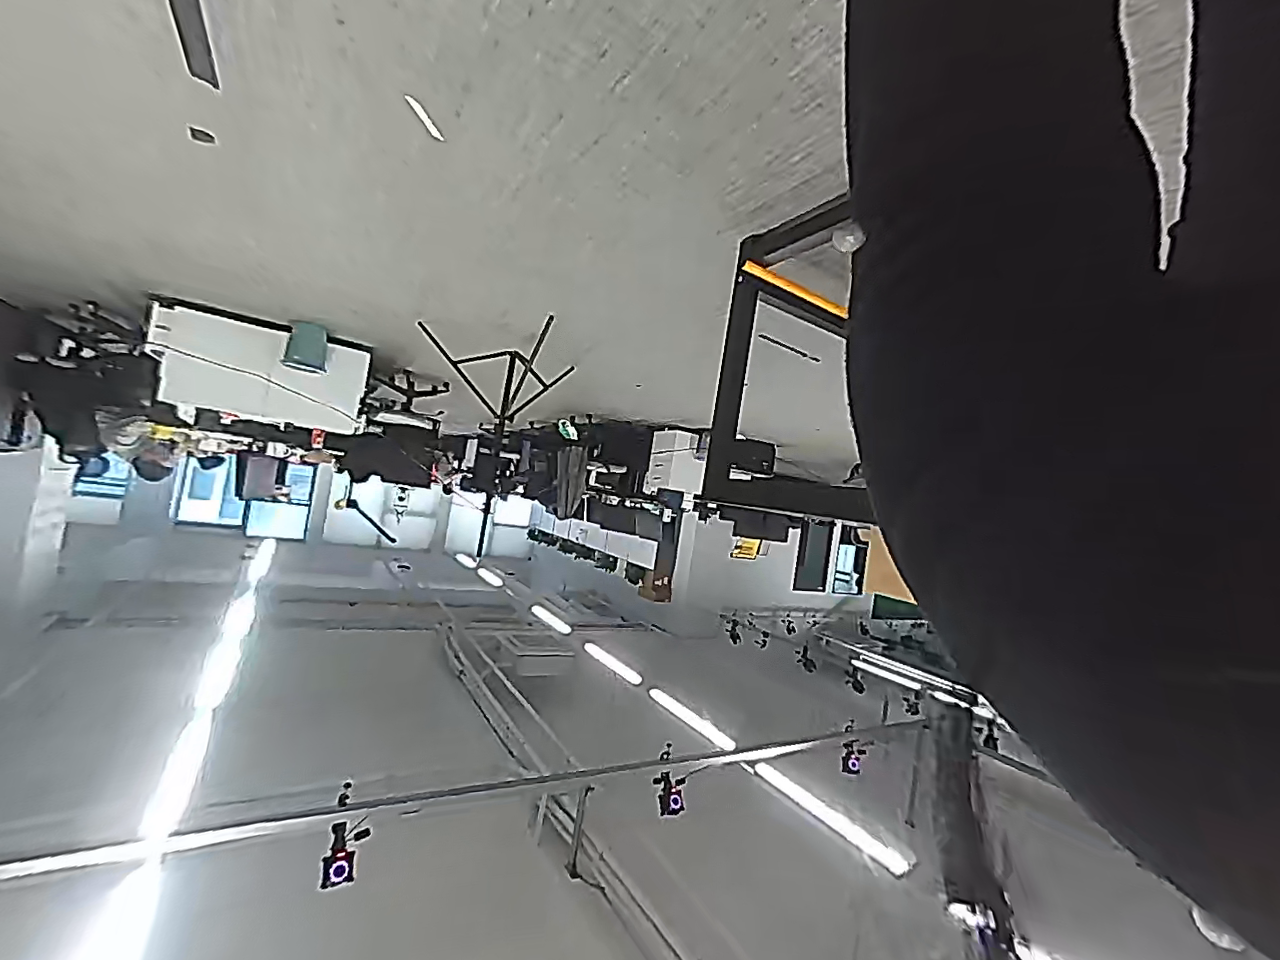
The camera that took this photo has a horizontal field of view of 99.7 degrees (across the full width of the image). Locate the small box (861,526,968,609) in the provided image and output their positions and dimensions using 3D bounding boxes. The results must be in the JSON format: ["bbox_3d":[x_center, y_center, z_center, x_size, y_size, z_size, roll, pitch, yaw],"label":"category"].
[{"bbox_3d":[0.678,0.213,1.331,0.179,0.176,0.168,11,177,-32],"label":"small box"}]
